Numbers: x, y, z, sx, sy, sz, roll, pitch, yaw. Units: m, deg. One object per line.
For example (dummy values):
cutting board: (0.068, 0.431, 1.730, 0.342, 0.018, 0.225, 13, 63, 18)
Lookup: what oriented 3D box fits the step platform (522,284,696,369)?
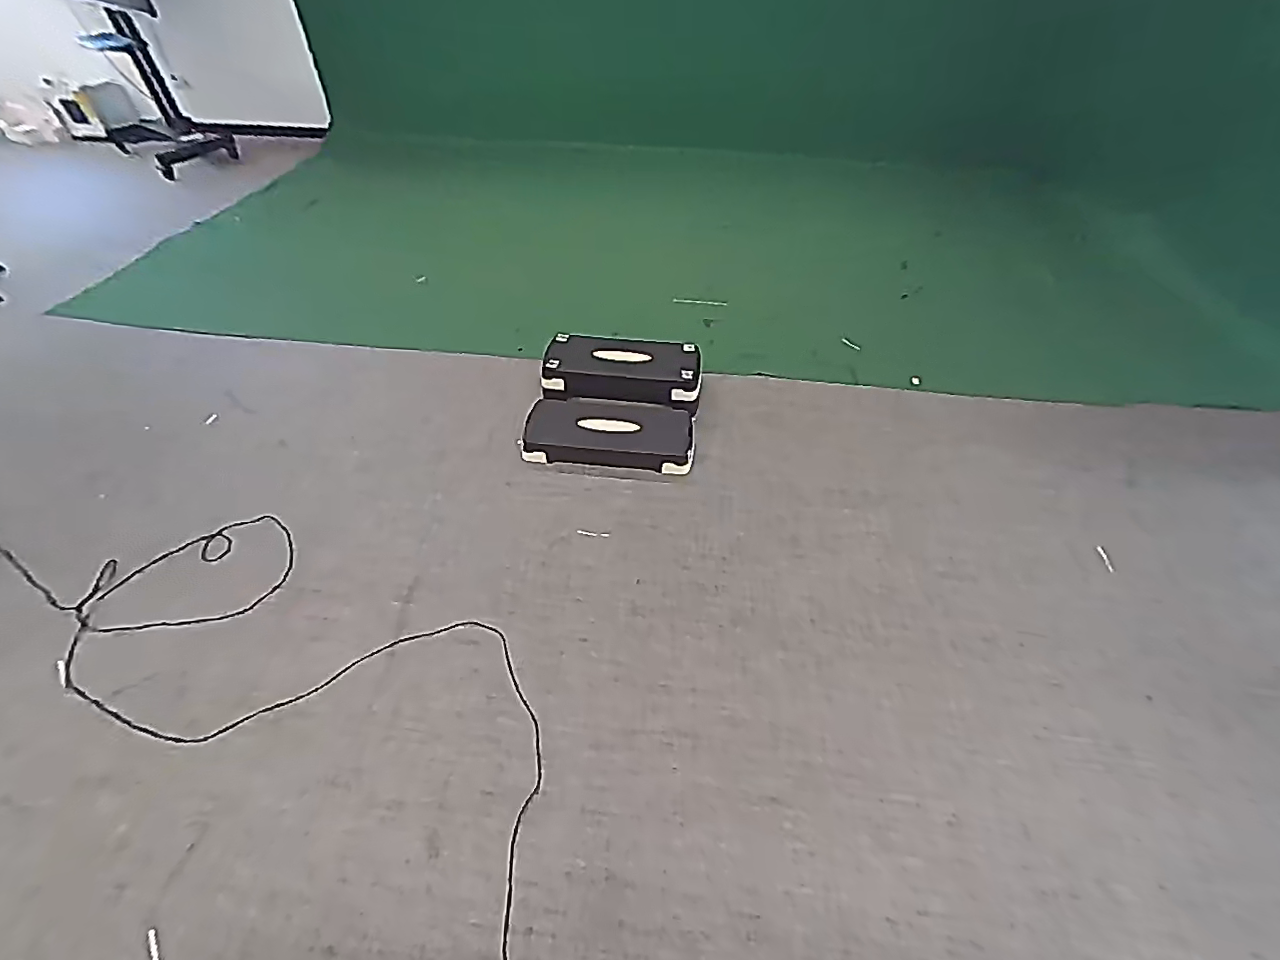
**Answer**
step platform: (-0.120, -0.630, 2.220, 0.684, 0.204, 0.286, 5, 48, 4)
